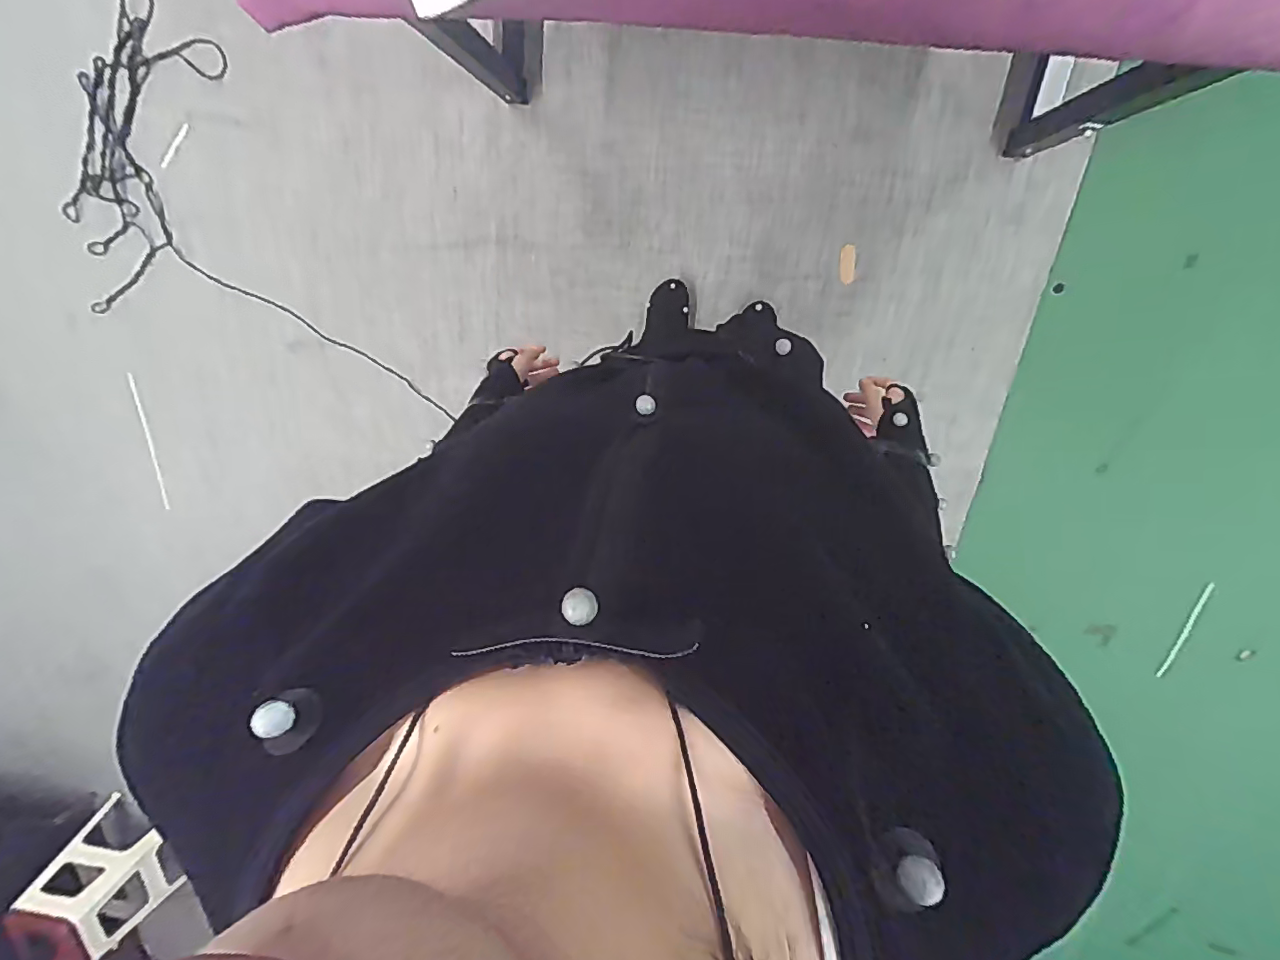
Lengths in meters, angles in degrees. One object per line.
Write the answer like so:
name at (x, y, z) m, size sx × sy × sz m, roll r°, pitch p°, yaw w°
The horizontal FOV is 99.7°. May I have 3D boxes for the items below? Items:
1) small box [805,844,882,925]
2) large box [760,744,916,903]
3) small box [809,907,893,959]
small box at (0.553, 1.145, 1.491) m, size 0.168 × 0.176 × 0.179 m, roll 0°, pitch 110°, yaw 9°
large box at (0.614, 1.087, 1.726) m, size 0.408 × 0.320 × 0.320 m, roll -6°, pitch 110°, yaw 9°
small box at (0.529, 1.206, 1.343) m, size 0.179 × 0.176 × 0.168 m, roll 1°, pitch 110°, yaw 8°
